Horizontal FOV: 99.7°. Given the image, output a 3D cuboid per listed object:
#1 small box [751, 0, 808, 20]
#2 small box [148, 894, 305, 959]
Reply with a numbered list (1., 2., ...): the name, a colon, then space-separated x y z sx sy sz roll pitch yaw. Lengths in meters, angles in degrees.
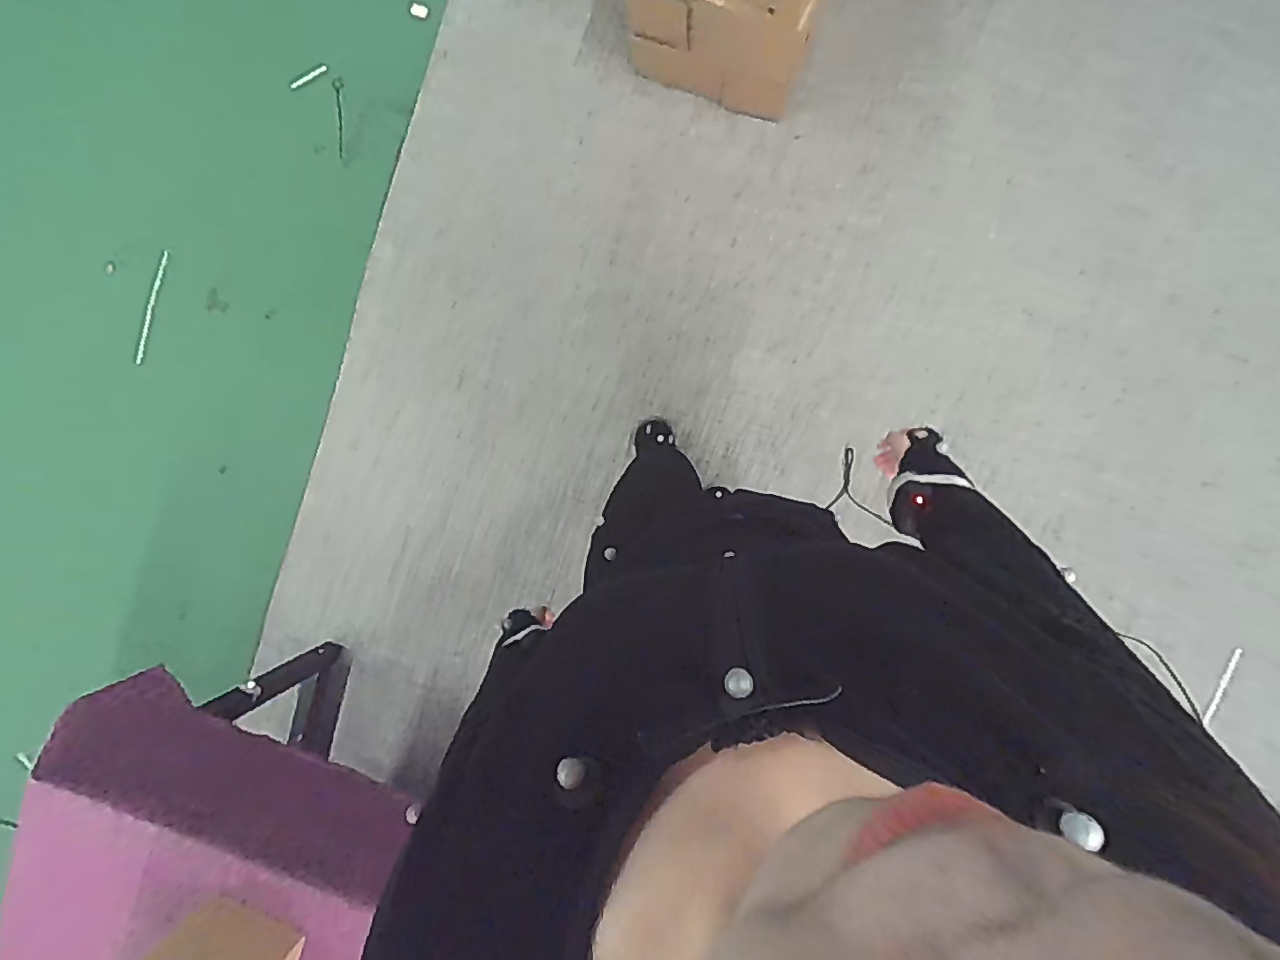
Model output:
1. small box: 0.277 -1.036 1.019 0.168 0.176 0.179 27 94 3
2. small box: -0.654 0.784 0.816 0.179 0.176 0.168 21 95 6
